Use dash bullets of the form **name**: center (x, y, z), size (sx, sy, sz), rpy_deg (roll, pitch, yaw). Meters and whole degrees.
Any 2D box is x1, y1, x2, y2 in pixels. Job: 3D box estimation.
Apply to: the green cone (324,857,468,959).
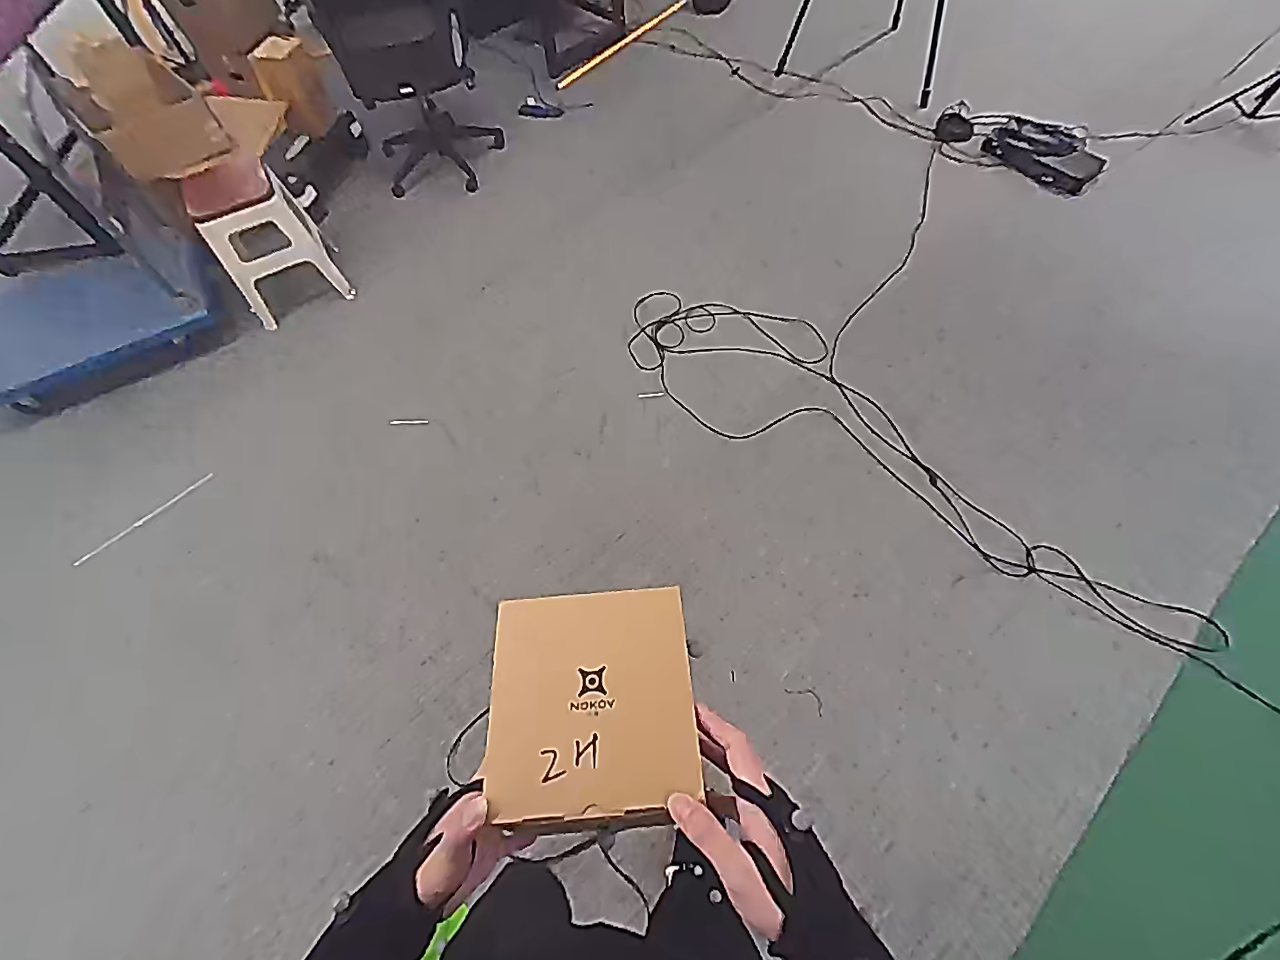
- **green cone**: center (-0.523, 0.928, 1.076), size (0.202, 0.368, 0.200), rpy_deg (-39, 66, -18)
